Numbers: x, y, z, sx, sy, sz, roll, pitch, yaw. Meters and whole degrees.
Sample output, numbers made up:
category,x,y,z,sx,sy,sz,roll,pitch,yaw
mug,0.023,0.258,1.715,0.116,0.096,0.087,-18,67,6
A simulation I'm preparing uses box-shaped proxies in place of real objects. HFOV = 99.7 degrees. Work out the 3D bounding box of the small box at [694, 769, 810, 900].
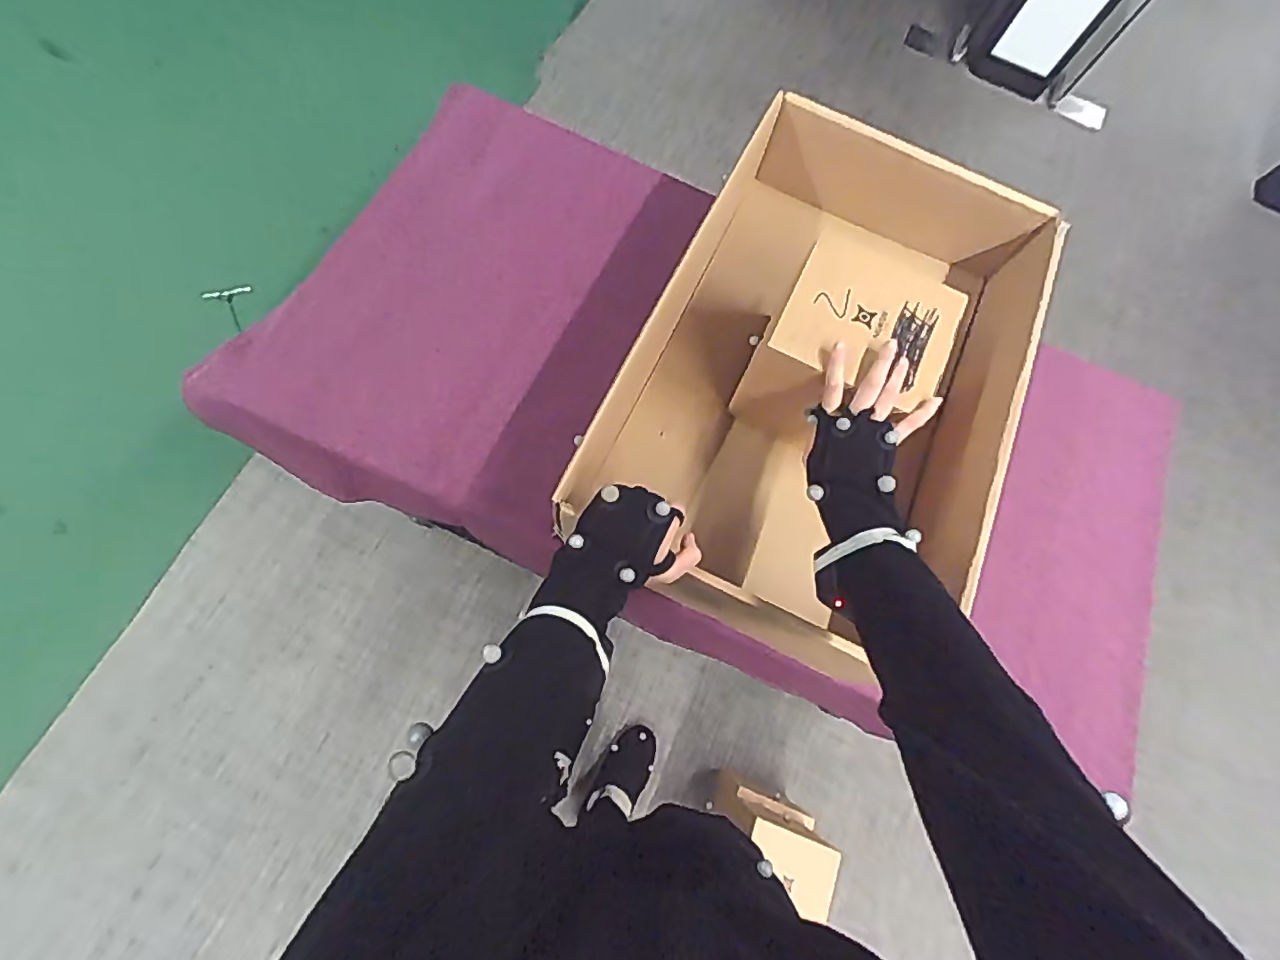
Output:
category,x,y,z,sx,sy,sz,roll,pitch,yaw
small box,0.237,0.759,1.181,0.179,0.176,0.168,24,72,2
